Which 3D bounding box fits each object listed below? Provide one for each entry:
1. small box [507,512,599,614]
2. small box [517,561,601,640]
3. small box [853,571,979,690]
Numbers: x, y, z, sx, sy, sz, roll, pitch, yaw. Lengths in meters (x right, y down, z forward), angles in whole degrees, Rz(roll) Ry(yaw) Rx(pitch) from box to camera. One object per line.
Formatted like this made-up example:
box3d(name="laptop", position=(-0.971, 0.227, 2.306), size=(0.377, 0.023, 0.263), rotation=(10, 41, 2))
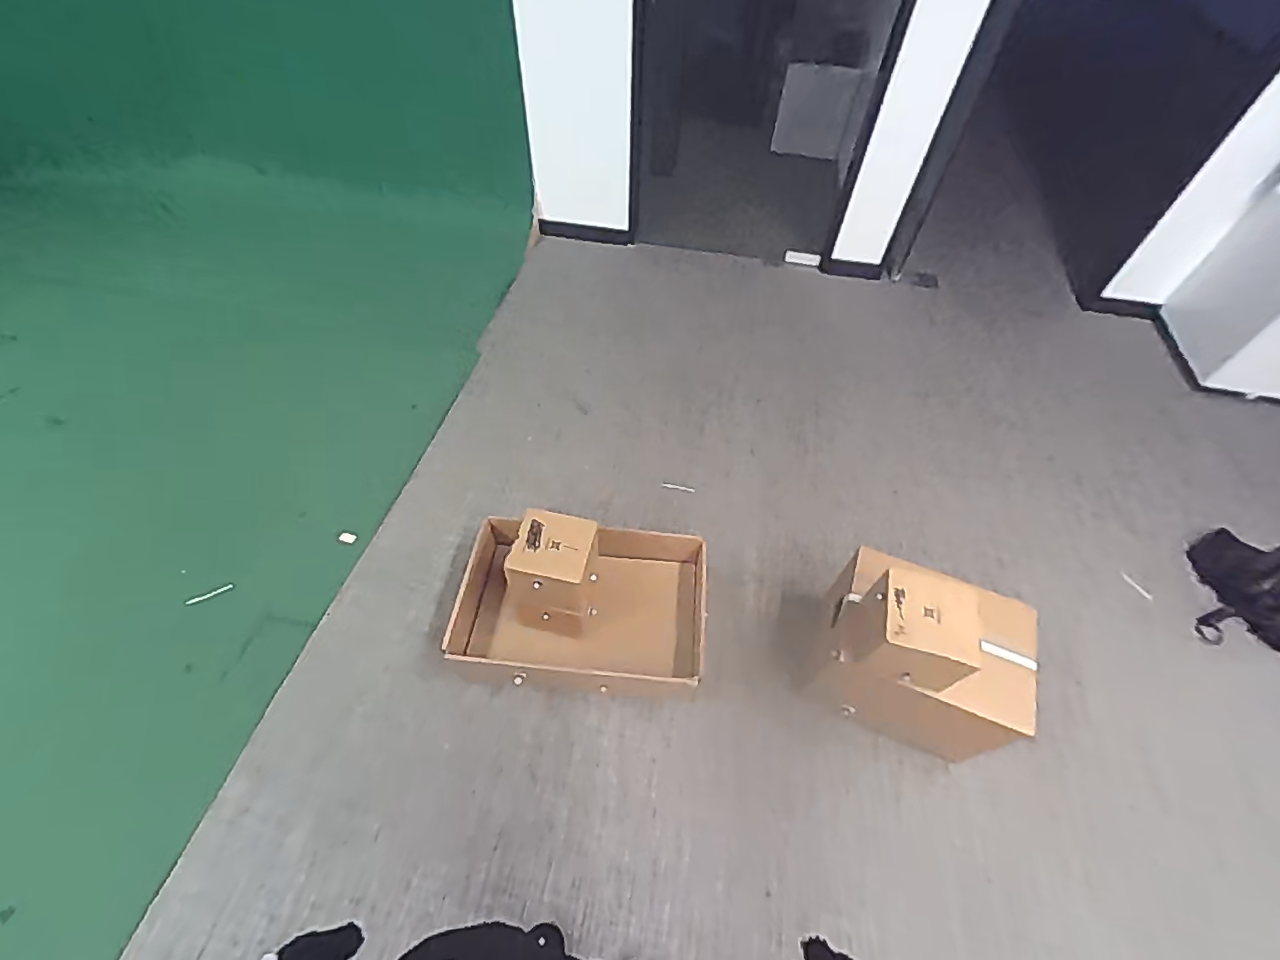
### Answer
box3d(name="small box", position=(-0.201, 0.204, 1.300), size=(0.179, 0.176, 0.168), rotation=(12, 53, 3))
box3d(name="small box", position=(-0.208, 0.305, 1.430), size=(0.179, 0.176, 0.168), rotation=(12, 53, 4))
box3d(name="small box", position=(0.564, 0.318, 1.119), size=(0.179, 0.176, 0.168), rotation=(15, 55, 8))
